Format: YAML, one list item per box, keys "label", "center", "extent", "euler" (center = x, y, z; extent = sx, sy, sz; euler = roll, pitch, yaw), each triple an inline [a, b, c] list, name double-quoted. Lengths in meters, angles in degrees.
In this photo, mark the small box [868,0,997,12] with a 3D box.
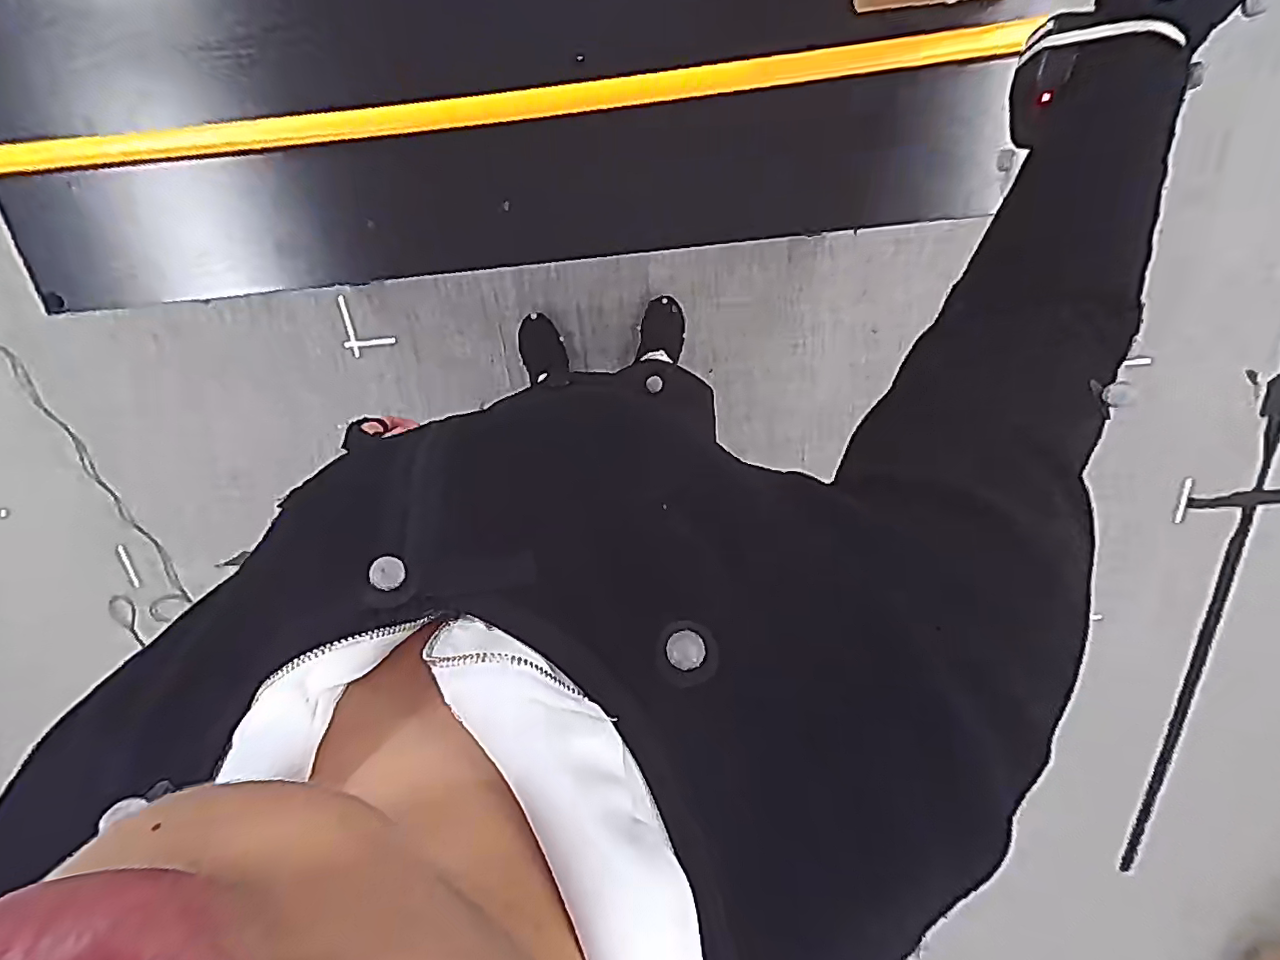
- label: "small box"
  center: [0.301, -0.547, 0.458]
  extent: [0.168, 0.176, 0.179]
  euler: [-4, 111, 3]
